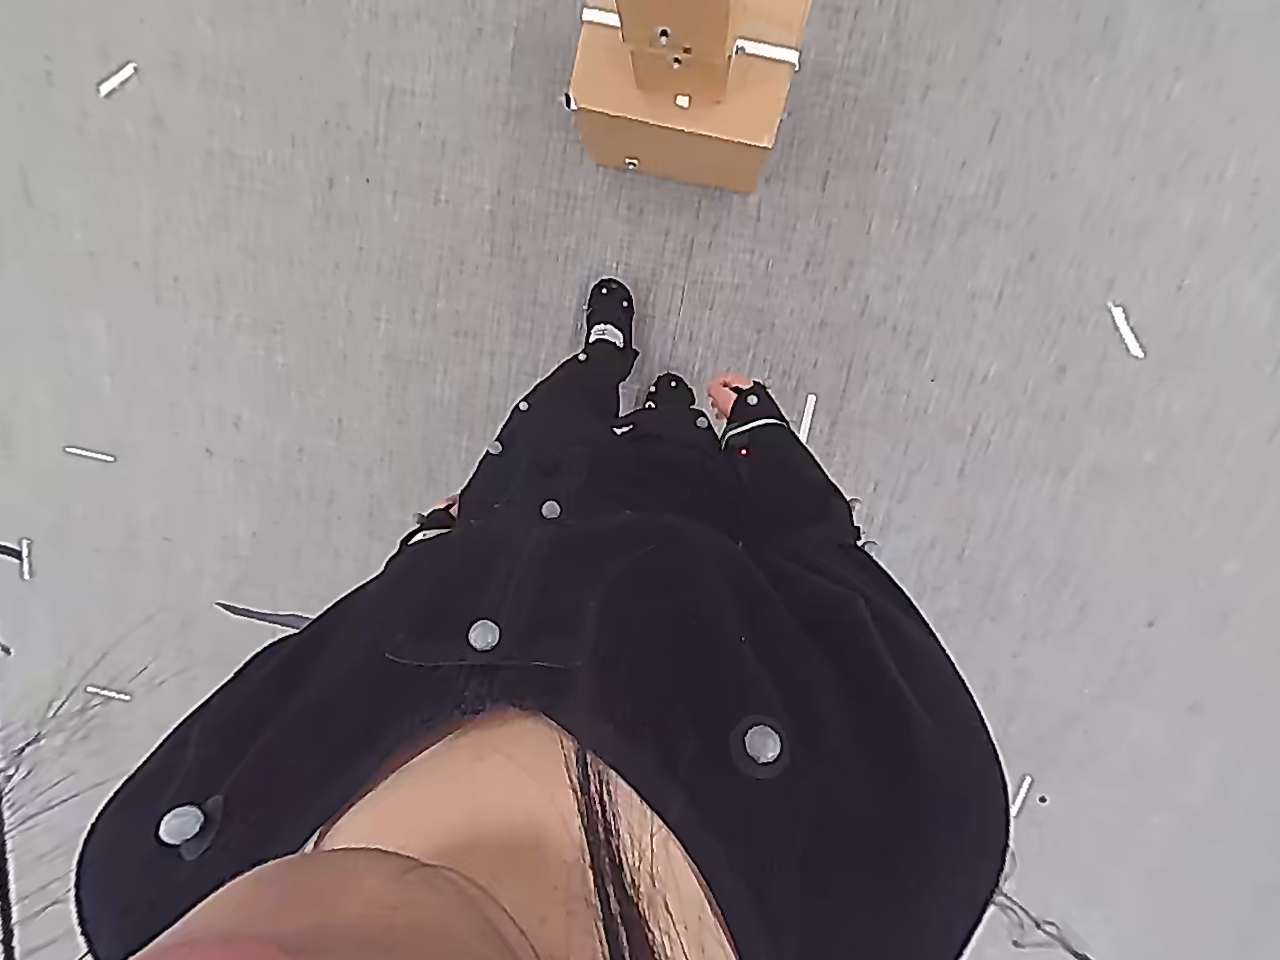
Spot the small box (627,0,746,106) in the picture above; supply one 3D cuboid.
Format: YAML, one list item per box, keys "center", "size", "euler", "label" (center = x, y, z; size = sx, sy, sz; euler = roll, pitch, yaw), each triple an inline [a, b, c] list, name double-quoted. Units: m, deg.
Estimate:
- center: [0.084, -0.778, 0.927]
  size: [0.179, 0.176, 0.168]
  euler: [11, 104, 1]
  label: "small box"

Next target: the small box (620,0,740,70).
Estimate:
- center: [0.065, -0.737, 0.771]
  size: [0.168, 0.176, 0.179]
  euler: [12, 104, 2]
  label: "small box"
